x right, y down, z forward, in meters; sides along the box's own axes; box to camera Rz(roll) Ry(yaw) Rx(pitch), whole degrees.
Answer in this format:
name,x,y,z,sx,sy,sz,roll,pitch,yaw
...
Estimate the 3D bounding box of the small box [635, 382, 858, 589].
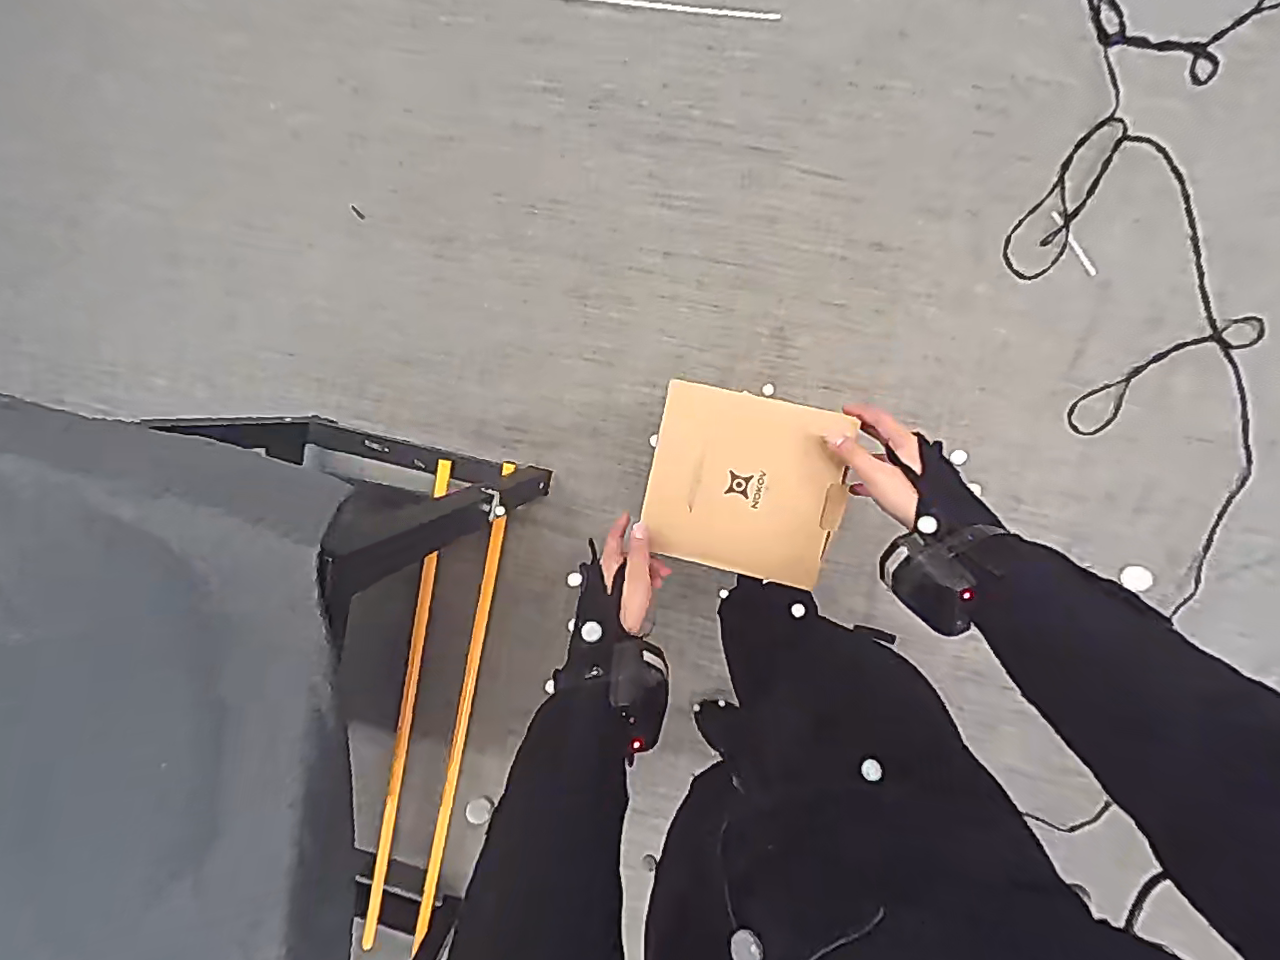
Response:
name,x,y,z,sx,sy,sz,roll,pitch,yaw
small box,0.105,-0.003,0.578,0.179,0.176,0.168,12,97,6
